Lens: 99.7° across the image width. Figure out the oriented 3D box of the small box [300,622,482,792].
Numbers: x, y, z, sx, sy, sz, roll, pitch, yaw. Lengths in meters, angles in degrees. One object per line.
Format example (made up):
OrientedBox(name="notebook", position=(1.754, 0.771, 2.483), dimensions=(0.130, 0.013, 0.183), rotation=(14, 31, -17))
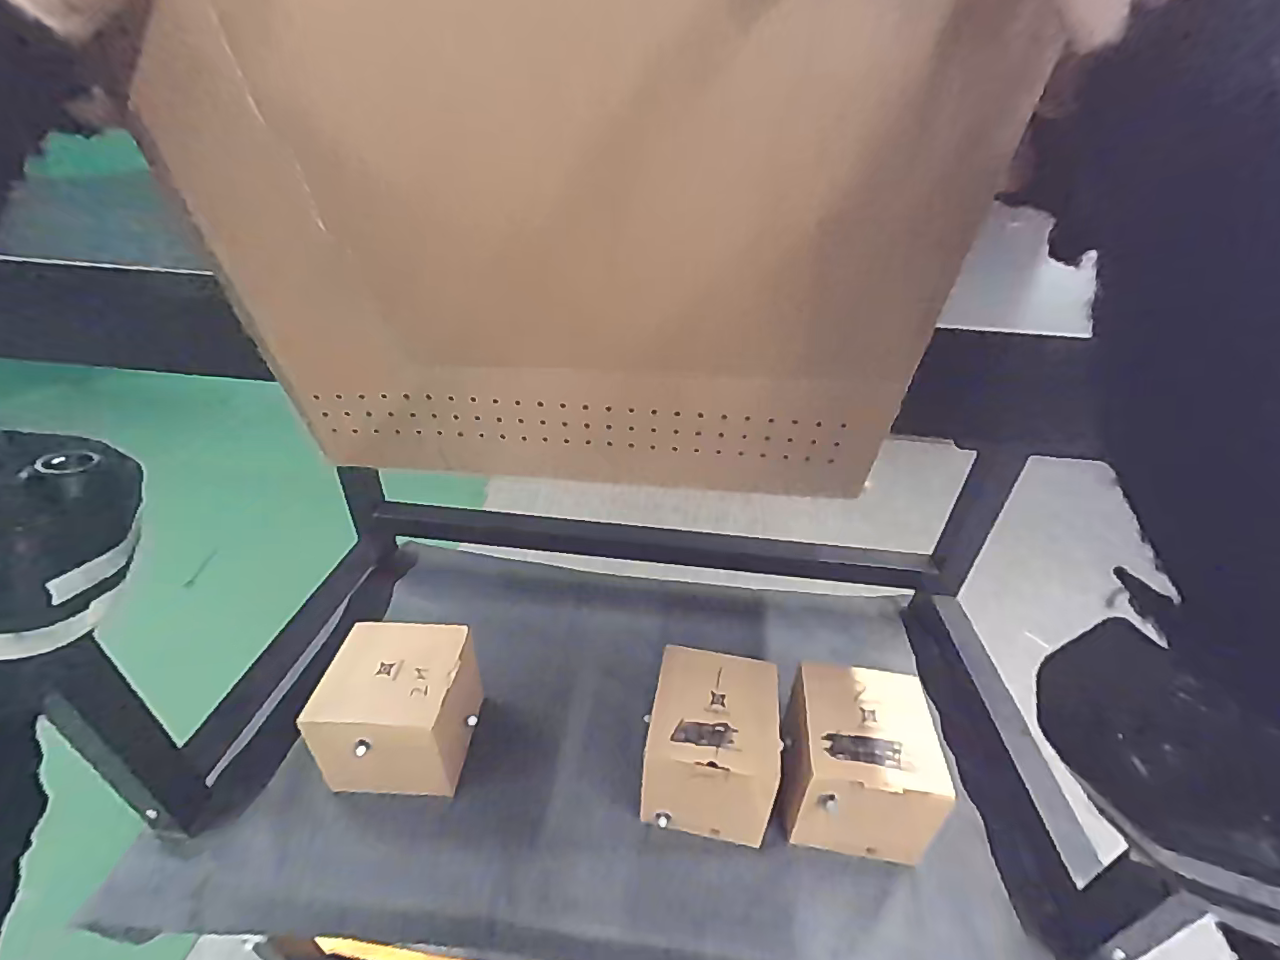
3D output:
OrientedBox(name="small box", position=(-0.346, 0.331, 0.791), dimensions=(0.179, 0.176, 0.168), rotation=(3, 33, 0))
